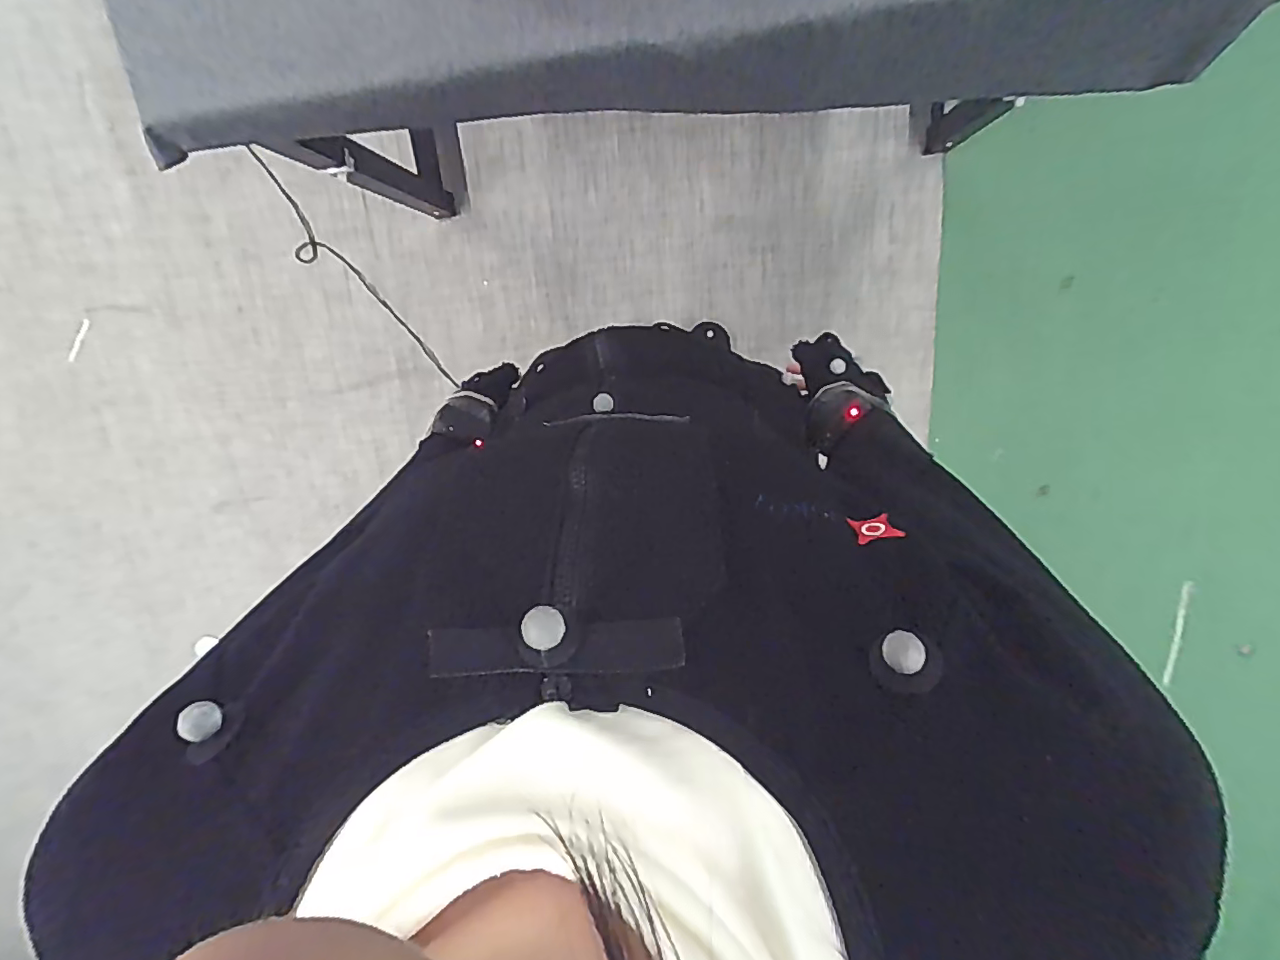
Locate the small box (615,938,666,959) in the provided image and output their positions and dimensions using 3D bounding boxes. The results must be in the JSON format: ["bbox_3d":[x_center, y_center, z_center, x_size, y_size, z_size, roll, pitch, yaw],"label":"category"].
[{"bbox_3d":[0.000,1.742,1.886,0.179,0.176,0.168,-4,106,4],"label":"small box"}]
